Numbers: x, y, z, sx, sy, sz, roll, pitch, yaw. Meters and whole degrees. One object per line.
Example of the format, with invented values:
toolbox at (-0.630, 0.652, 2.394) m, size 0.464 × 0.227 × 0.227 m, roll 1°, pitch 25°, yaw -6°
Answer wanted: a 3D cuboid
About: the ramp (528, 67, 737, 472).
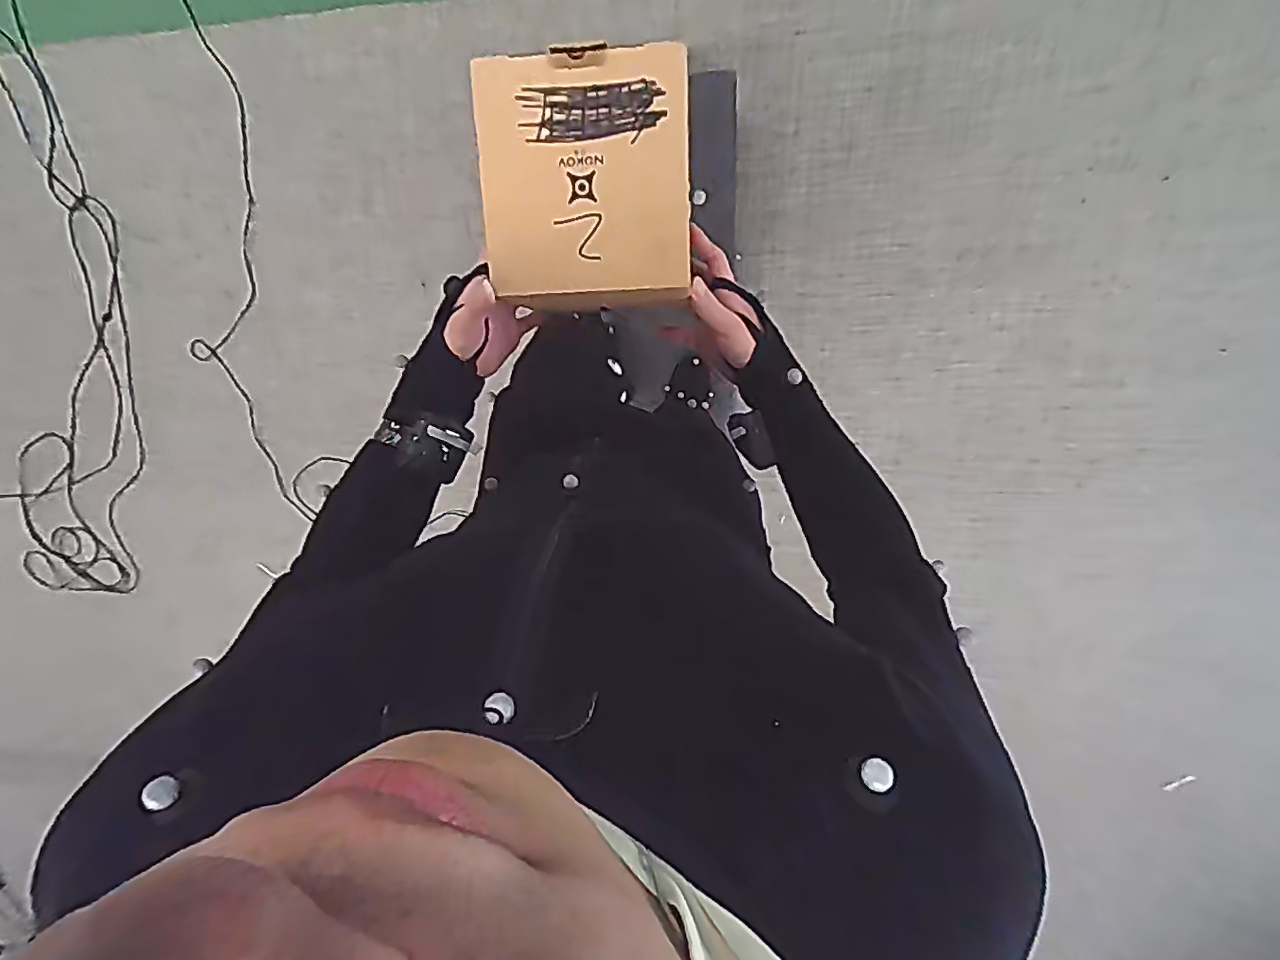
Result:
ramp at (0.012, -0.478, 1.456) m, size 0.509 × 0.206 × 0.991 m, roll -2°, pitch 106°, yaw 7°
